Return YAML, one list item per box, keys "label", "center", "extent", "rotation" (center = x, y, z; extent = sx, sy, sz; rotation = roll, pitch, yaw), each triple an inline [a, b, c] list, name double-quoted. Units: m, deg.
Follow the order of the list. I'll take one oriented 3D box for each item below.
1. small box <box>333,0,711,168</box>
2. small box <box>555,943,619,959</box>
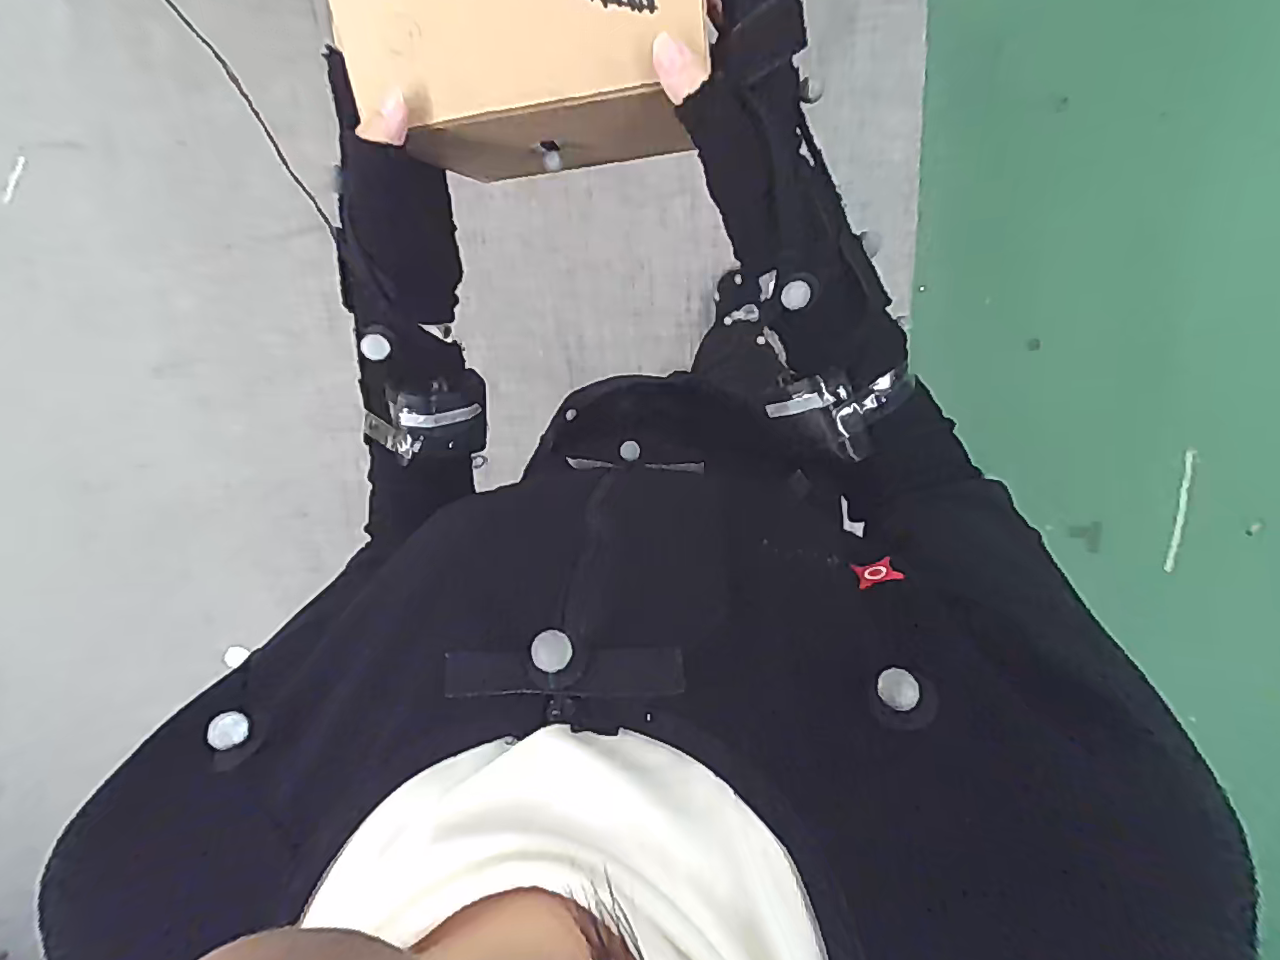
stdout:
- label: "small box"
  center: [-0.056, -0.291, 0.305]
  extent: [0.179, 0.176, 0.168]
  rotation: [-5, 111, 8]
- label: "small box"
  center: [-0.143, 1.362, 1.416]
  extent: [0.179, 0.176, 0.168]
  rotation: [-6, 103, 8]
